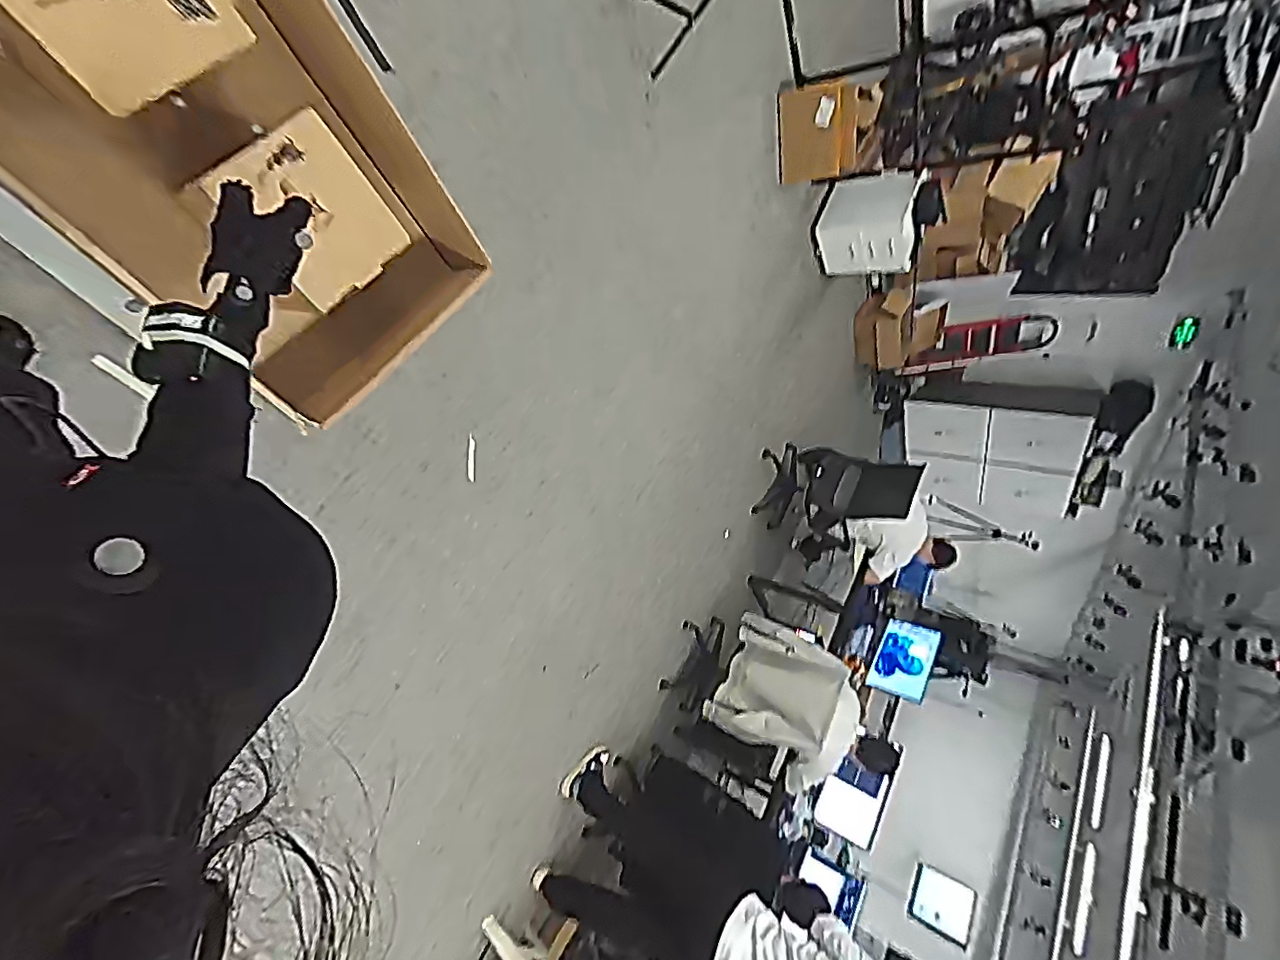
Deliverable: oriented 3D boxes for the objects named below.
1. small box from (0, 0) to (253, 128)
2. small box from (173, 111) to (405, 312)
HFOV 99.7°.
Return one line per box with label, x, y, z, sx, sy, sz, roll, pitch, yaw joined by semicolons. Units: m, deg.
small box;-0.557;-0.493;0.551;0.179;0.176;0.168;-52;139;-21
small box;-0.464;-0.351;0.724;0.168;0.176;0.179;-53;137;-22
